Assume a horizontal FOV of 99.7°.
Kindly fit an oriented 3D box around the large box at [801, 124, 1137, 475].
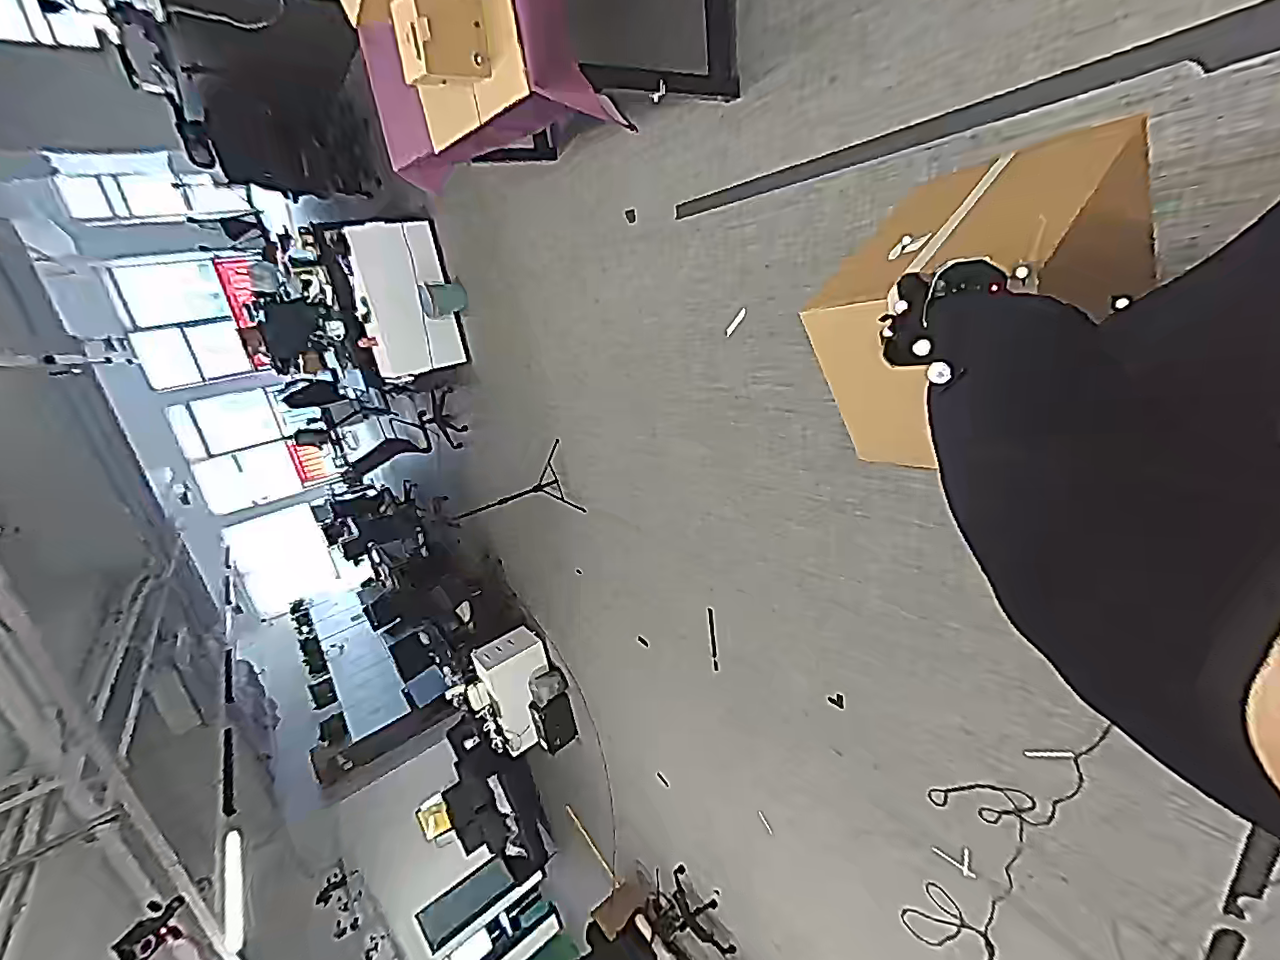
[{"bbox_3d":[0.533,-0.264,0.858,0.320,0.408,0.320,10,143,54],"label":"large box"}]
